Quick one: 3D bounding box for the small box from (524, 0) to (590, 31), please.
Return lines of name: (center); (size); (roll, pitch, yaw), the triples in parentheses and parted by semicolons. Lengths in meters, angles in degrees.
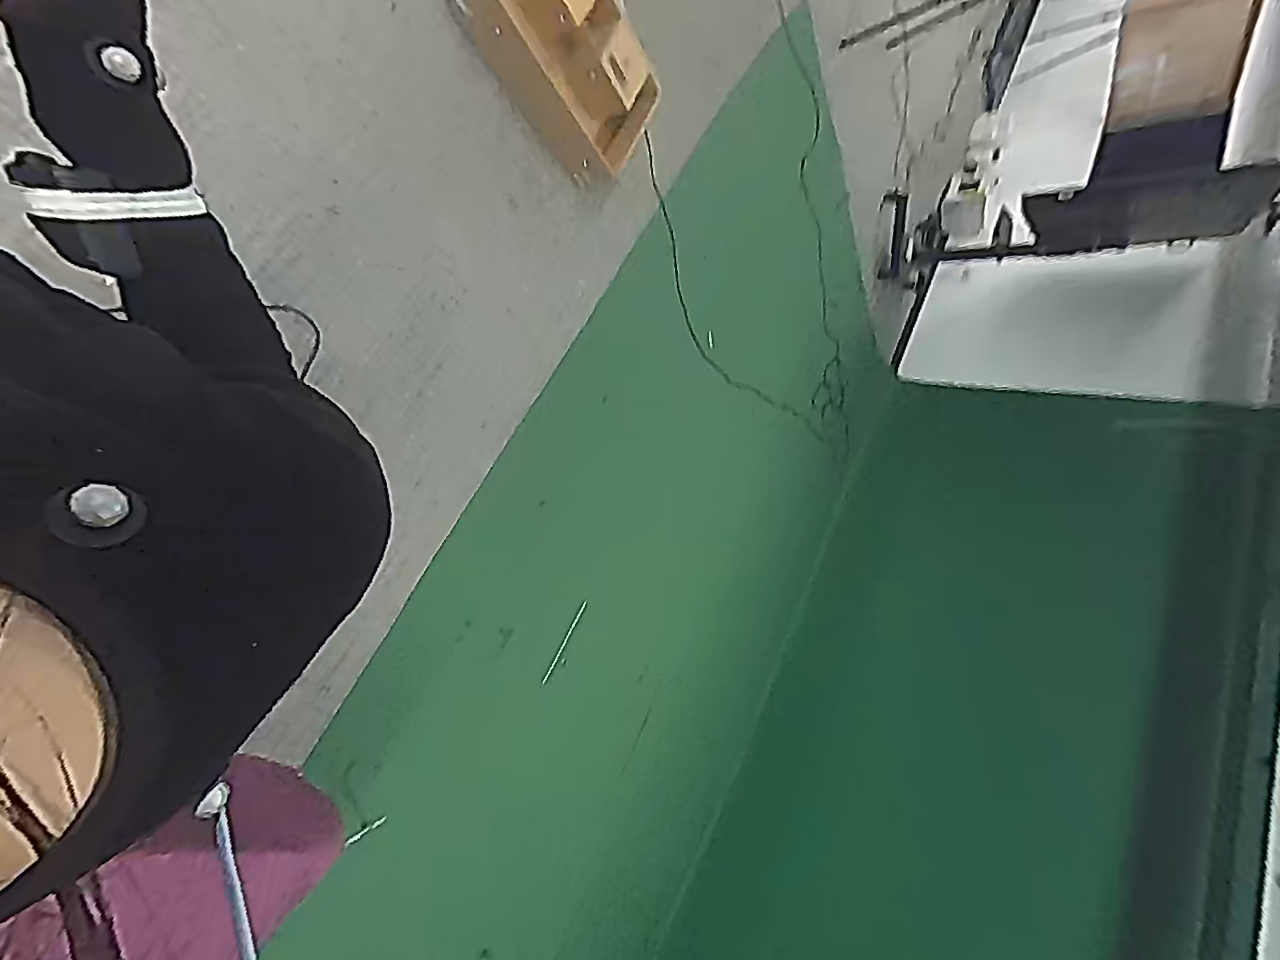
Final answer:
small box: (-0.242, -1.426, 1.520); (0.179, 0.176, 0.168); (40, 72, -50)
